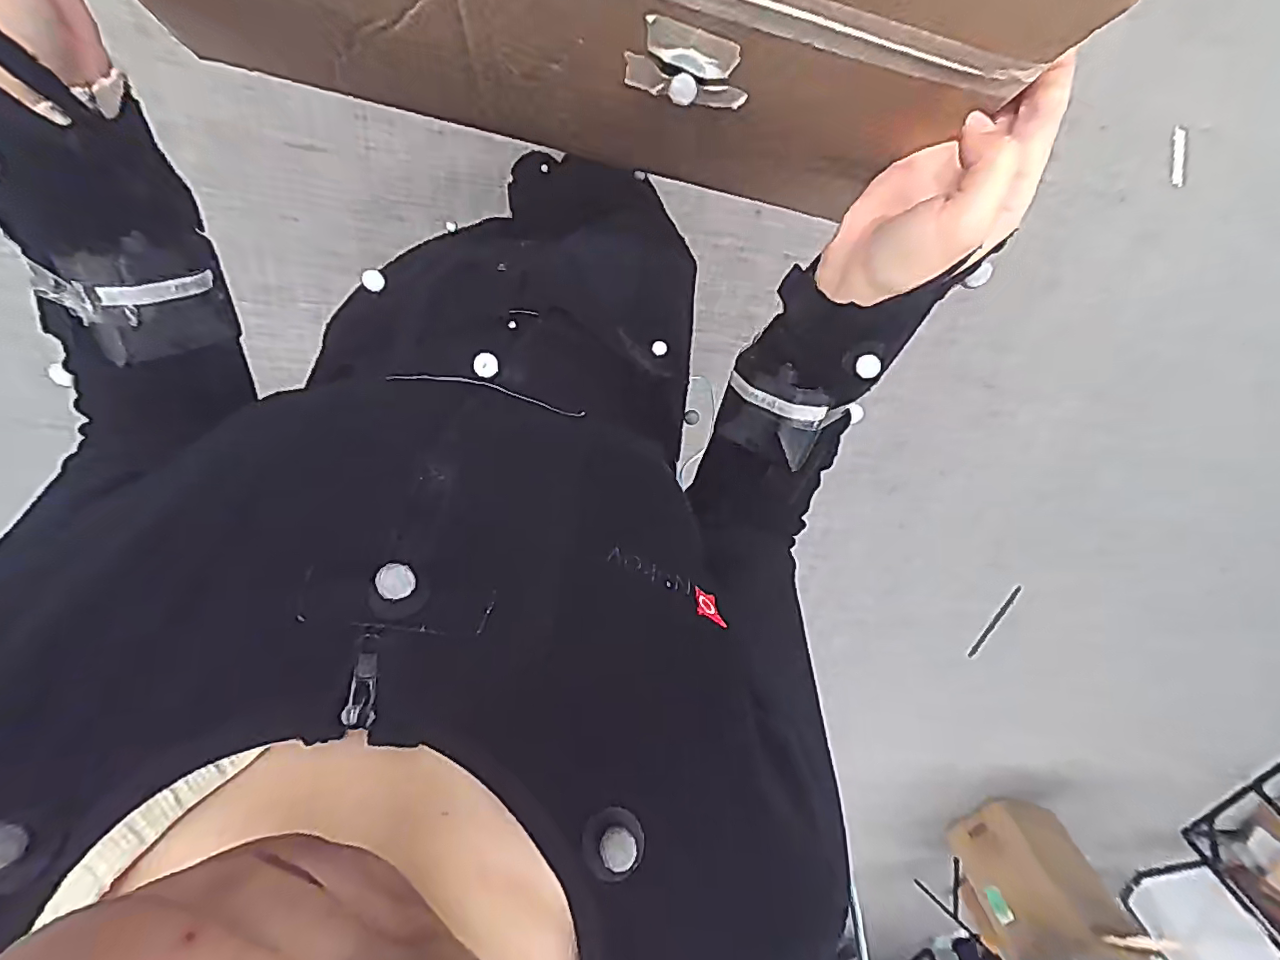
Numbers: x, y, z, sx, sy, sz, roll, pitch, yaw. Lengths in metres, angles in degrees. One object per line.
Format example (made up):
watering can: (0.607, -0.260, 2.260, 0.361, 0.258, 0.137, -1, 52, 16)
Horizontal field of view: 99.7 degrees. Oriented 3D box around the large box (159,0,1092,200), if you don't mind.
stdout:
large box: (-0.013, -0.355, 0.184, 0.408, 0.320, 0.320, 9, 95, -9)
